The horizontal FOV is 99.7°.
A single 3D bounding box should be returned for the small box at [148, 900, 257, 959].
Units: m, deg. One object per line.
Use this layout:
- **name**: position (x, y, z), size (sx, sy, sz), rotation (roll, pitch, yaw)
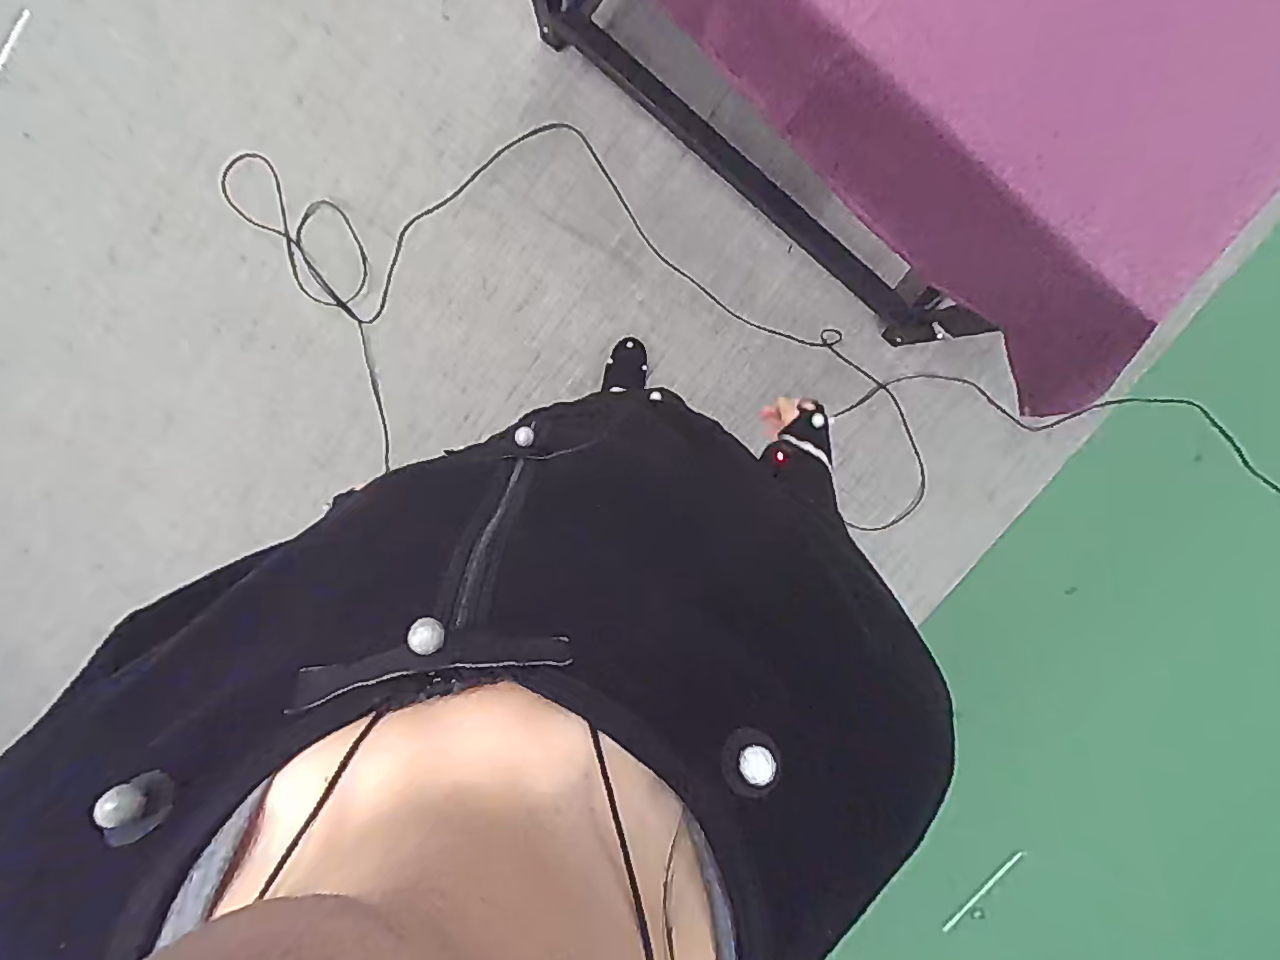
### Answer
- **small box**: position (-1.168, 1.265, 1.418), size (0.168, 0.176, 0.179), rotation (-39, 99, 5)
